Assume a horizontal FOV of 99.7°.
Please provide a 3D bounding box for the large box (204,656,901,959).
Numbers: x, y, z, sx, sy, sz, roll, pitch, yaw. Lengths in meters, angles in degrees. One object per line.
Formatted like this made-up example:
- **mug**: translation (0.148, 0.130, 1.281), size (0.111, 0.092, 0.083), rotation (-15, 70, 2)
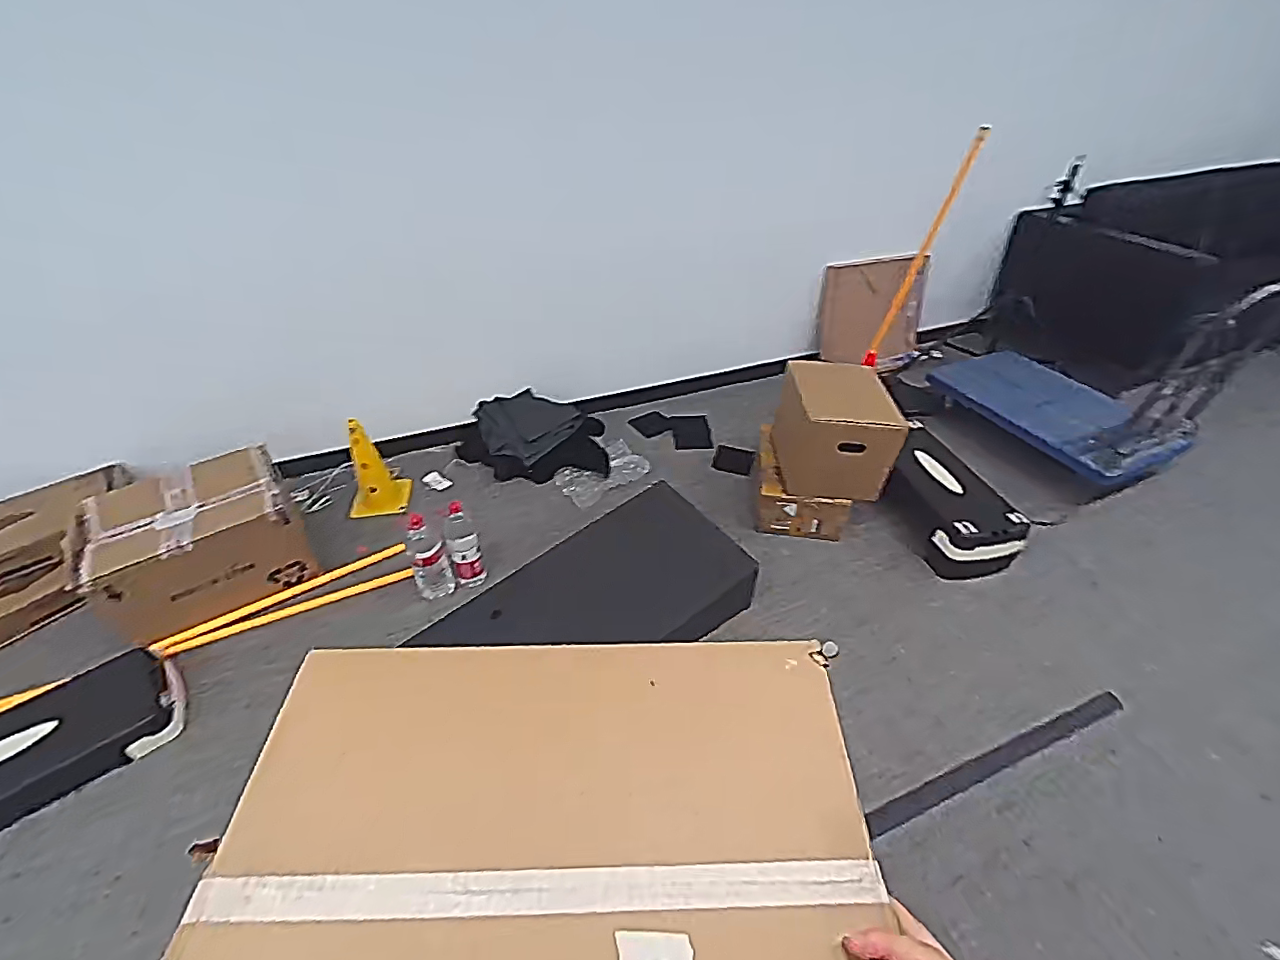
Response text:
- **large box**: translation (-0.051, 0.358, 0.432), size (0.408, 0.320, 0.320), rotation (0, 47, -1)
